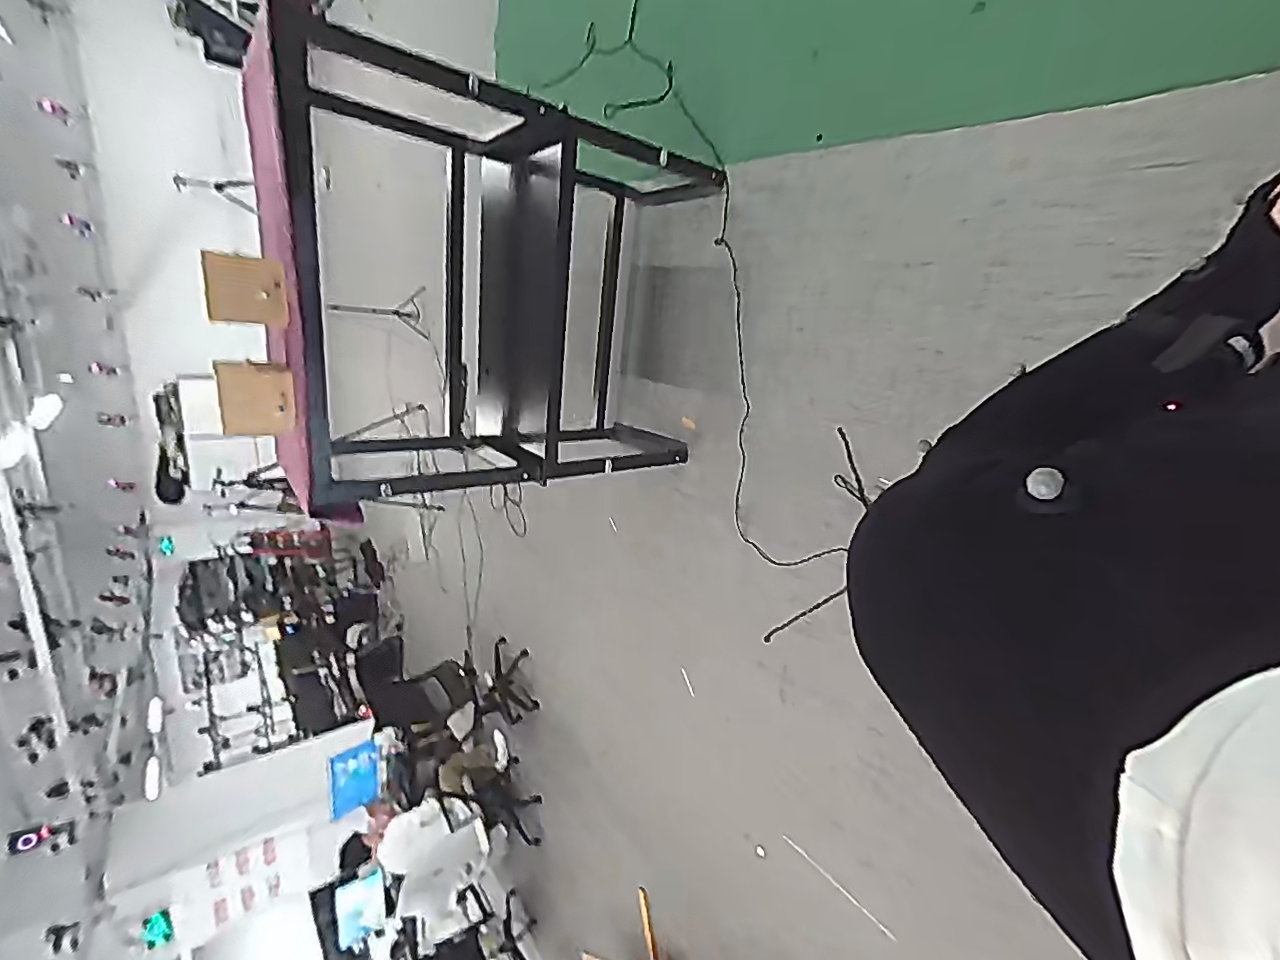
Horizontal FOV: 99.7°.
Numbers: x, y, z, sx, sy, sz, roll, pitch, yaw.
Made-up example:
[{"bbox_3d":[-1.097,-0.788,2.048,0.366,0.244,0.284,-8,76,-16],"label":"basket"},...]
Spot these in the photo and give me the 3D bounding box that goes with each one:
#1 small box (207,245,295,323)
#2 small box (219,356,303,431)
[{"bbox_3d":[-0.992,-0.499,1.383,0.179,0.176,0.168,28,117,46],"label":"small box"},{"bbox_3d":[-1.025,-0.237,1.466,0.179,0.176,0.168,30,119,46],"label":"small box"}]
